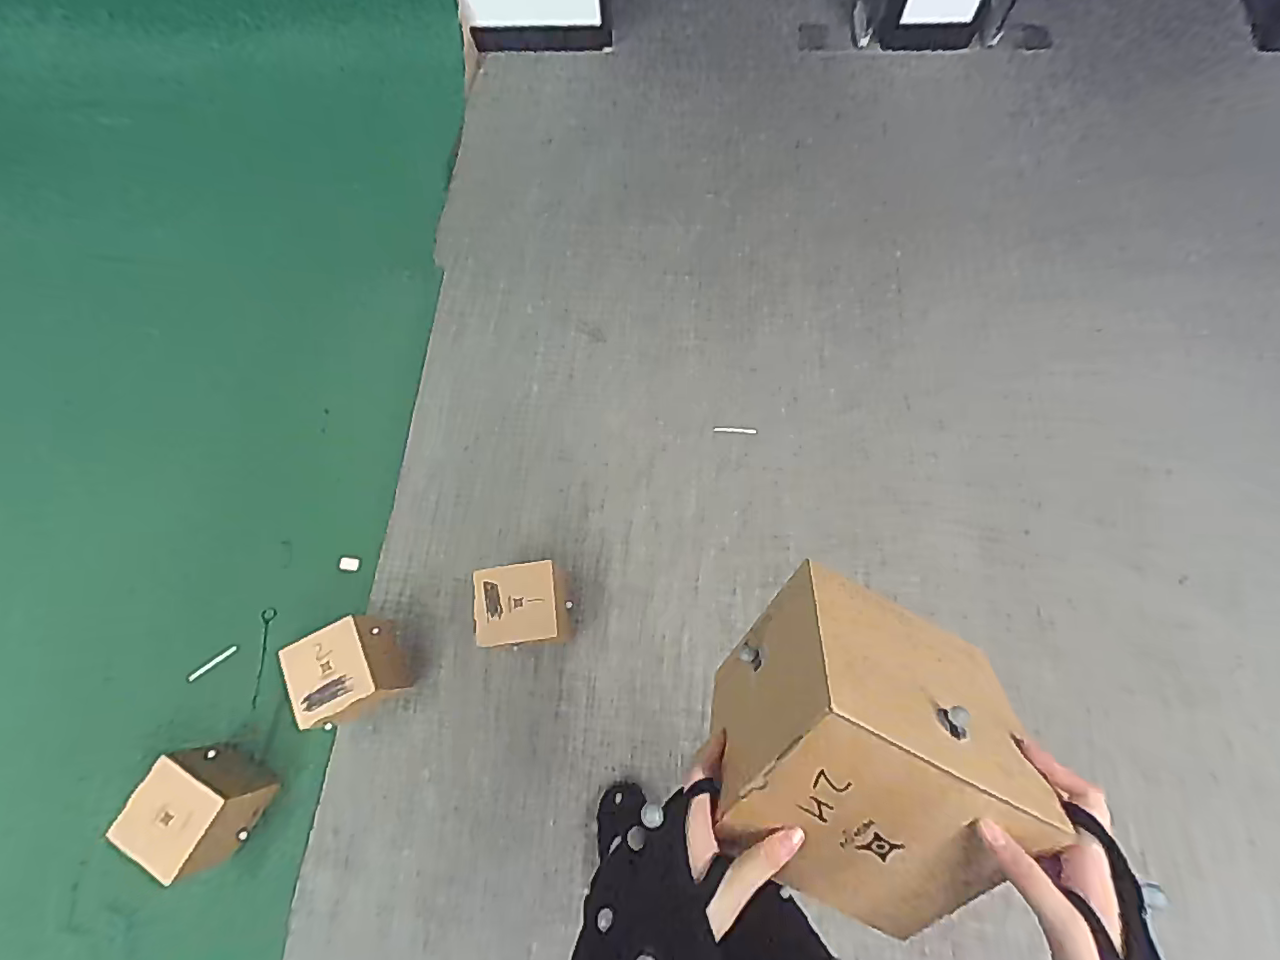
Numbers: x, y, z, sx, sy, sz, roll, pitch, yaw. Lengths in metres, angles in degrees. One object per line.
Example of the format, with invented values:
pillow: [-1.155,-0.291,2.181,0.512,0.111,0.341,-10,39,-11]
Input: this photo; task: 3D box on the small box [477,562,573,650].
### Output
small box: [-0.257,0.291,1.228,0.179,0.176,0.168,-8,71,0]

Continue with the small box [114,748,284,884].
small box: [-0.908,0.685,1.130,0.179,0.176,0.168,27,75,11]

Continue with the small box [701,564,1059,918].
small box: [0.170,0.199,0.444,0.179,0.176,0.168,27,117,-1]
